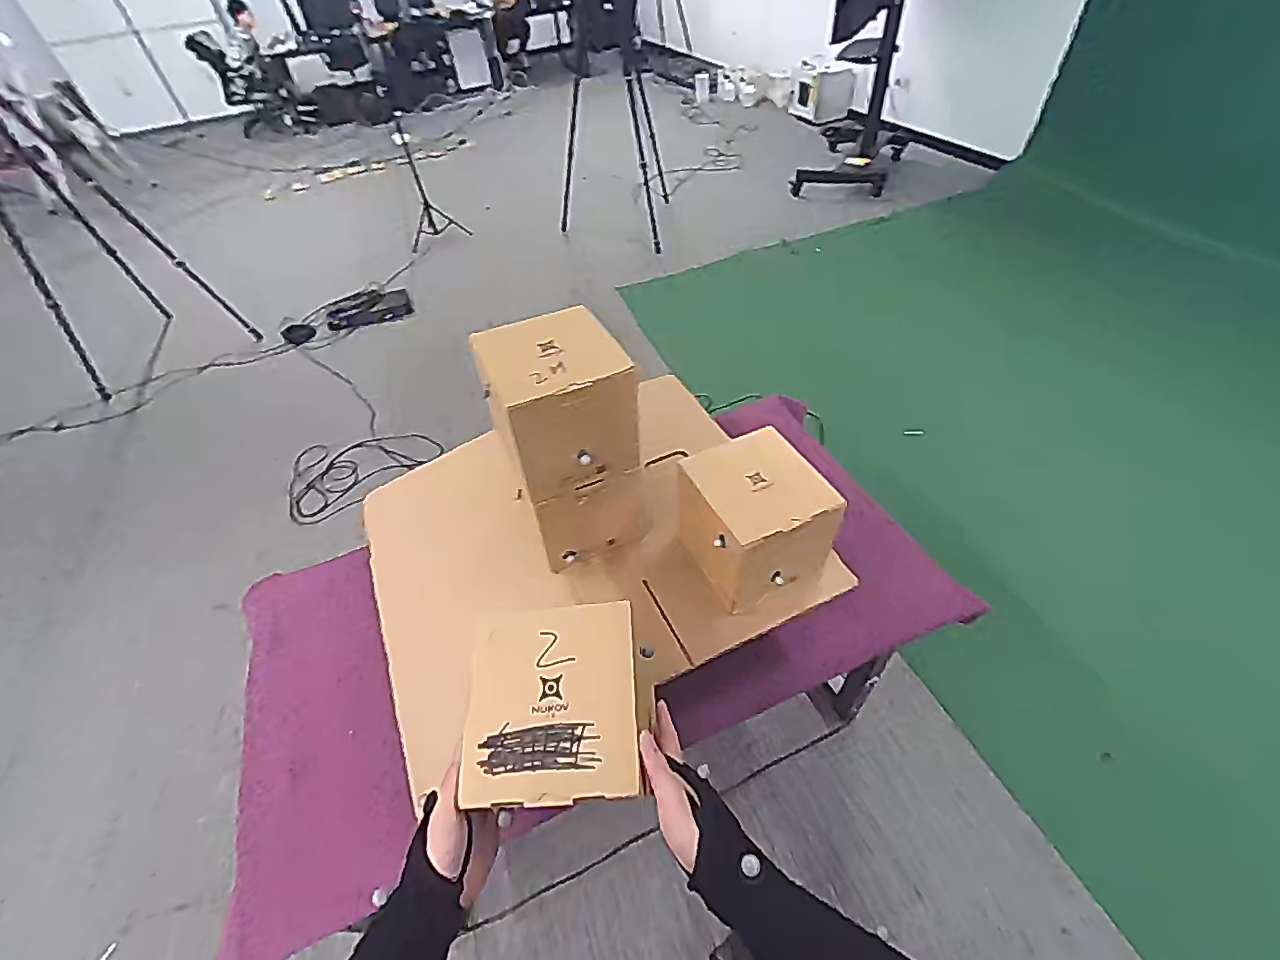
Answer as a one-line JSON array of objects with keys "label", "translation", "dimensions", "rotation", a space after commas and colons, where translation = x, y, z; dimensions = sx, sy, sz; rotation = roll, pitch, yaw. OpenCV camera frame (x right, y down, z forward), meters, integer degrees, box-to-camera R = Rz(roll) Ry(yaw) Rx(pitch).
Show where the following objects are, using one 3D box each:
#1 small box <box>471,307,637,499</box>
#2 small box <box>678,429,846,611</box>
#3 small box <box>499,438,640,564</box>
[{"label": "small box", "translation": [-0.113, -0.105, 0.735], "dimensions": [0.168, 0.176, 0.179], "rotation": [-21, 50, -16]}, {"label": "small box", "translation": [0.163, 0.059, 0.797], "dimensions": [0.168, 0.176, 0.179], "rotation": [-21, 50, -16]}, {"label": "small box", "translation": [-0.106, 0.009, 0.853], "dimensions": [0.168, 0.176, 0.179], "rotation": [-20, 49, -17]}]
